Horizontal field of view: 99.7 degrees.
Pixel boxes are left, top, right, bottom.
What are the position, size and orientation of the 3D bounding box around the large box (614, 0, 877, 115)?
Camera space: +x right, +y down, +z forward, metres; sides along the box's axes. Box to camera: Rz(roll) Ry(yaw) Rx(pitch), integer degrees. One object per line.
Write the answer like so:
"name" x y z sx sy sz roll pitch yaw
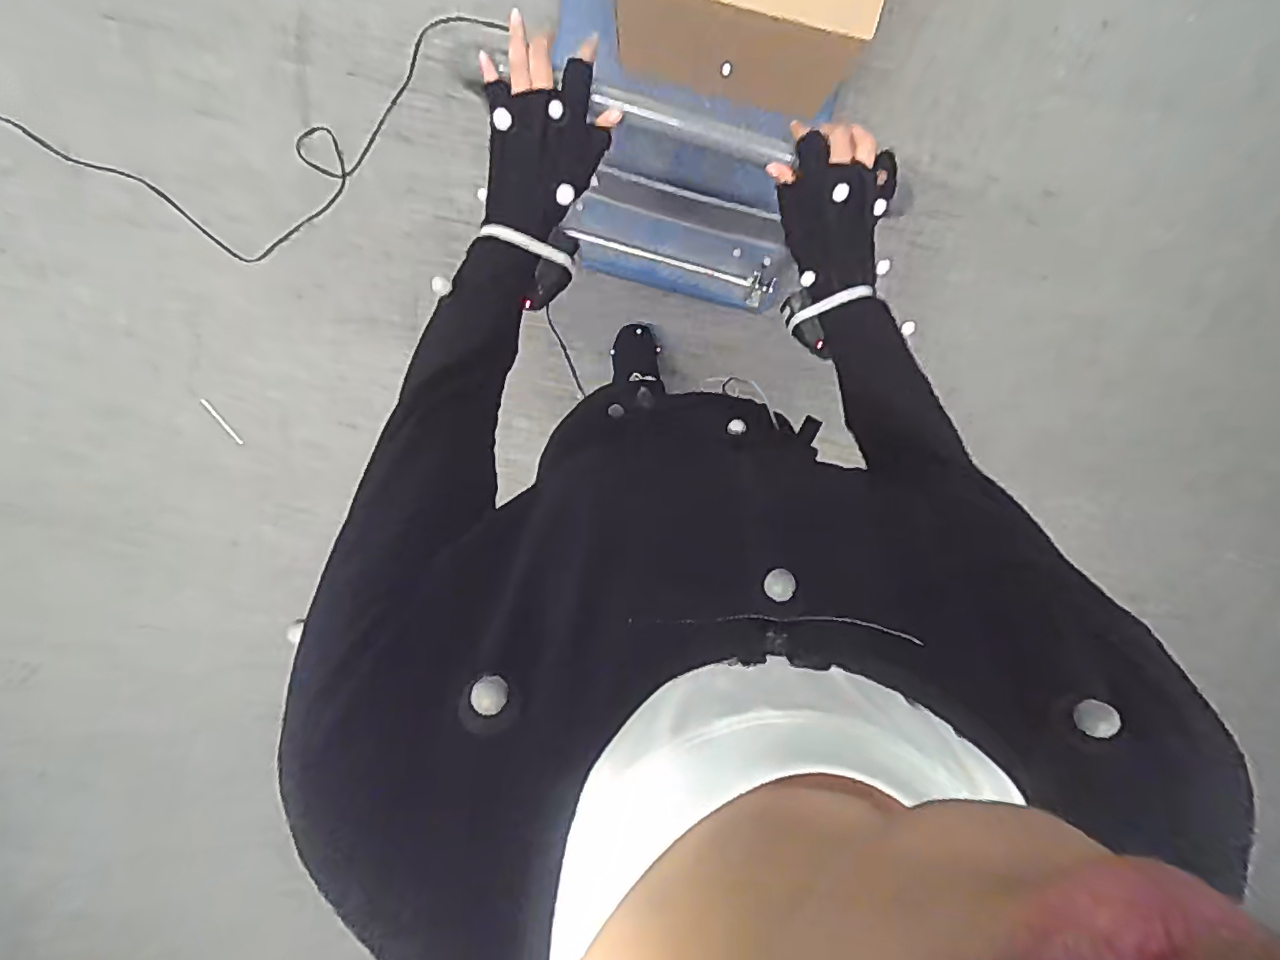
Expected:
"large box" 0.186 -0.889 0.922 0.408 0.320 0.320 13 103 -2
